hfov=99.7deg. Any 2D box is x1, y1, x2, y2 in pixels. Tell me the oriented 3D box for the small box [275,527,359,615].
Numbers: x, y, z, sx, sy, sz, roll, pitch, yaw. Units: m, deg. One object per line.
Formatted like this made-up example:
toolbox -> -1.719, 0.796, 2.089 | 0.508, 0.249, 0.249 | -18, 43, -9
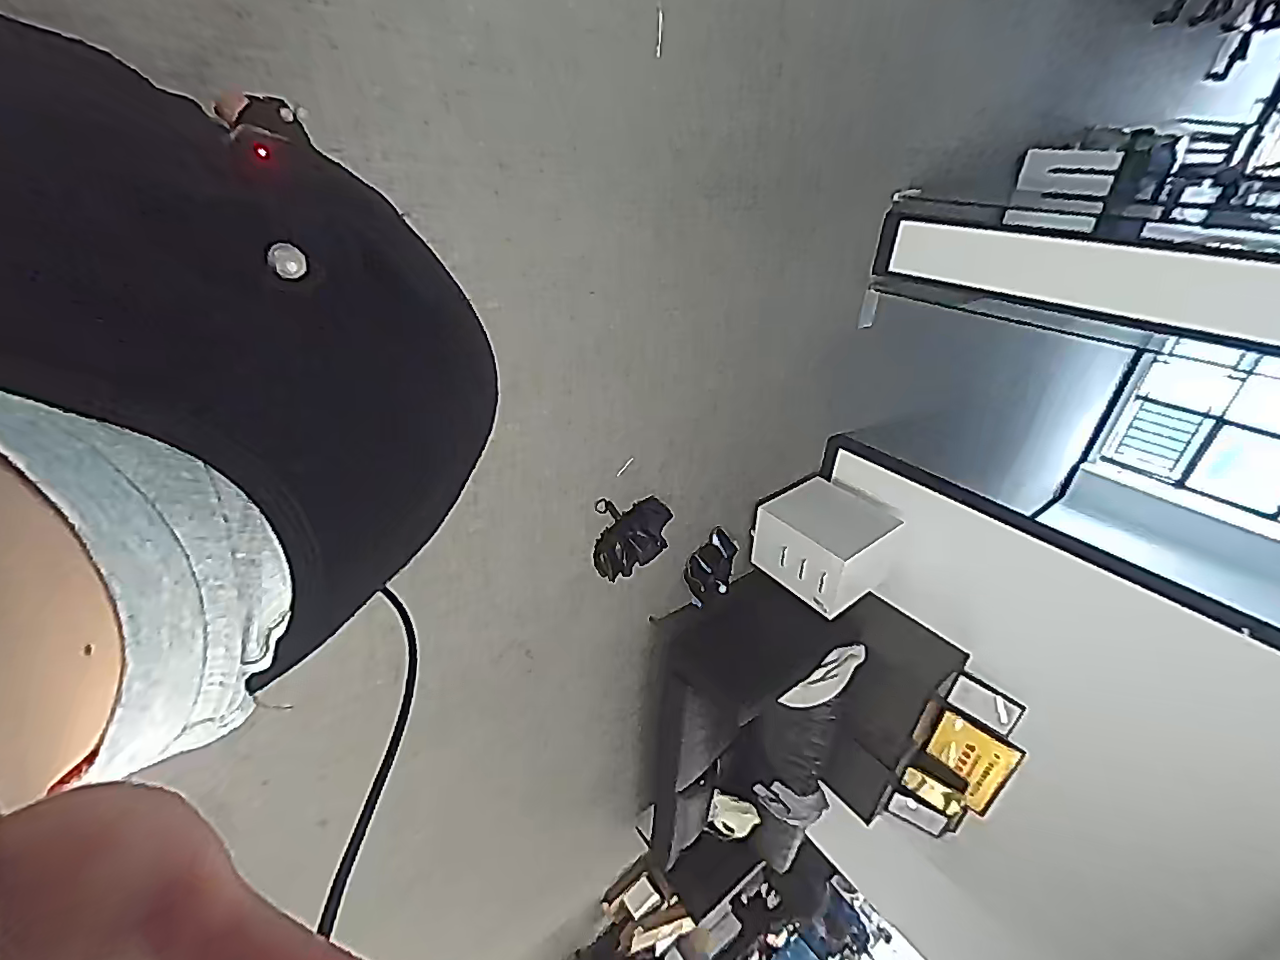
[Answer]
small box -> -0.925, 0.251, 1.549 | 0.179, 0.176, 0.168 | -10, 121, -37
